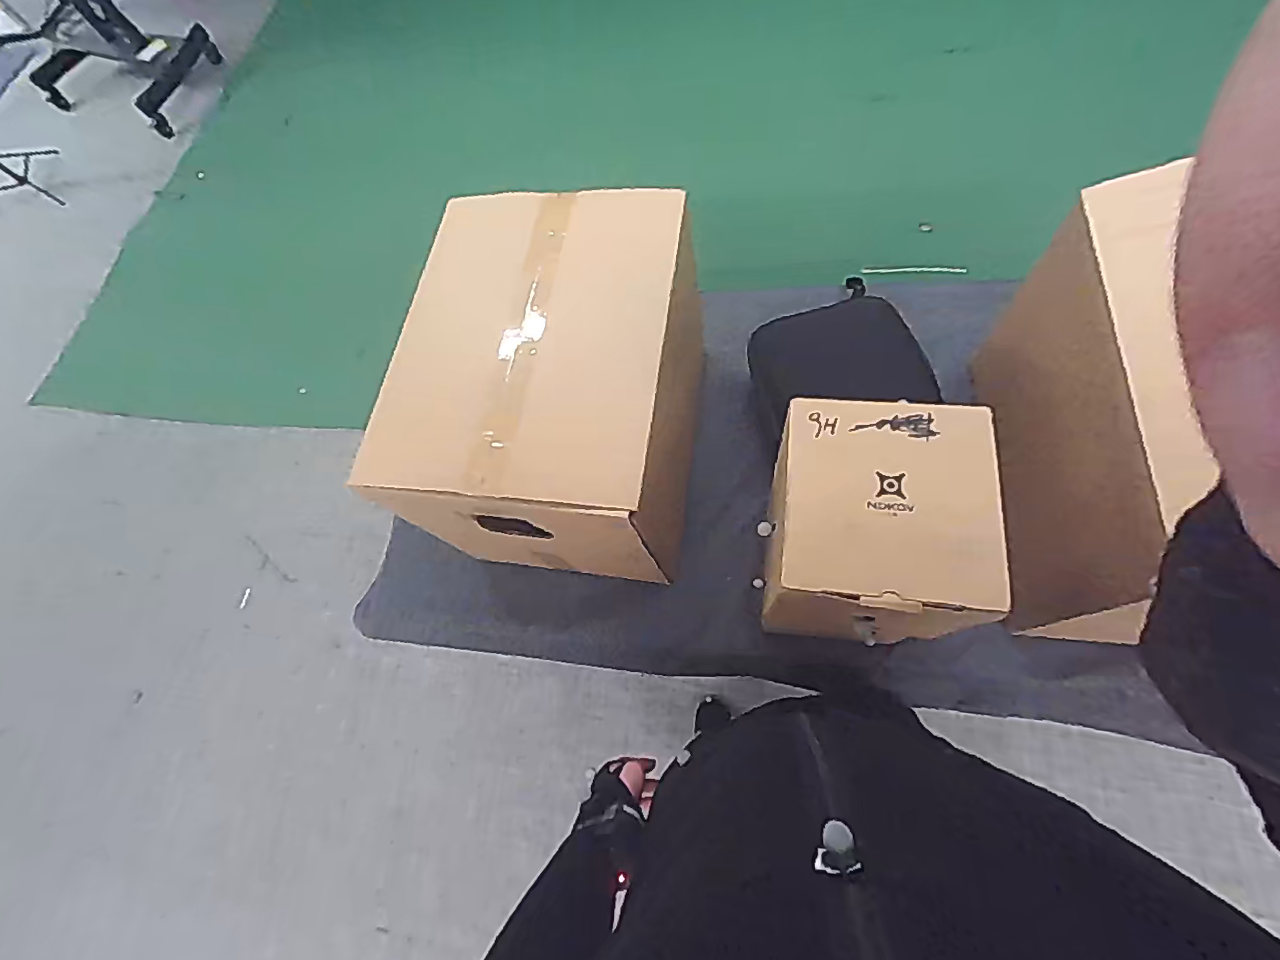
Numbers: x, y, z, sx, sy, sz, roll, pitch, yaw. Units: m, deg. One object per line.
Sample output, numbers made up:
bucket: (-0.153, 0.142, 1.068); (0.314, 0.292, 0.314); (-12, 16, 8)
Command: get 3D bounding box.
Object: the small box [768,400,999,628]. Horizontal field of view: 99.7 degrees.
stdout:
small box: (0.216, 0.041, 0.522); (0.168, 0.176, 0.179); (4, 70, 11)
